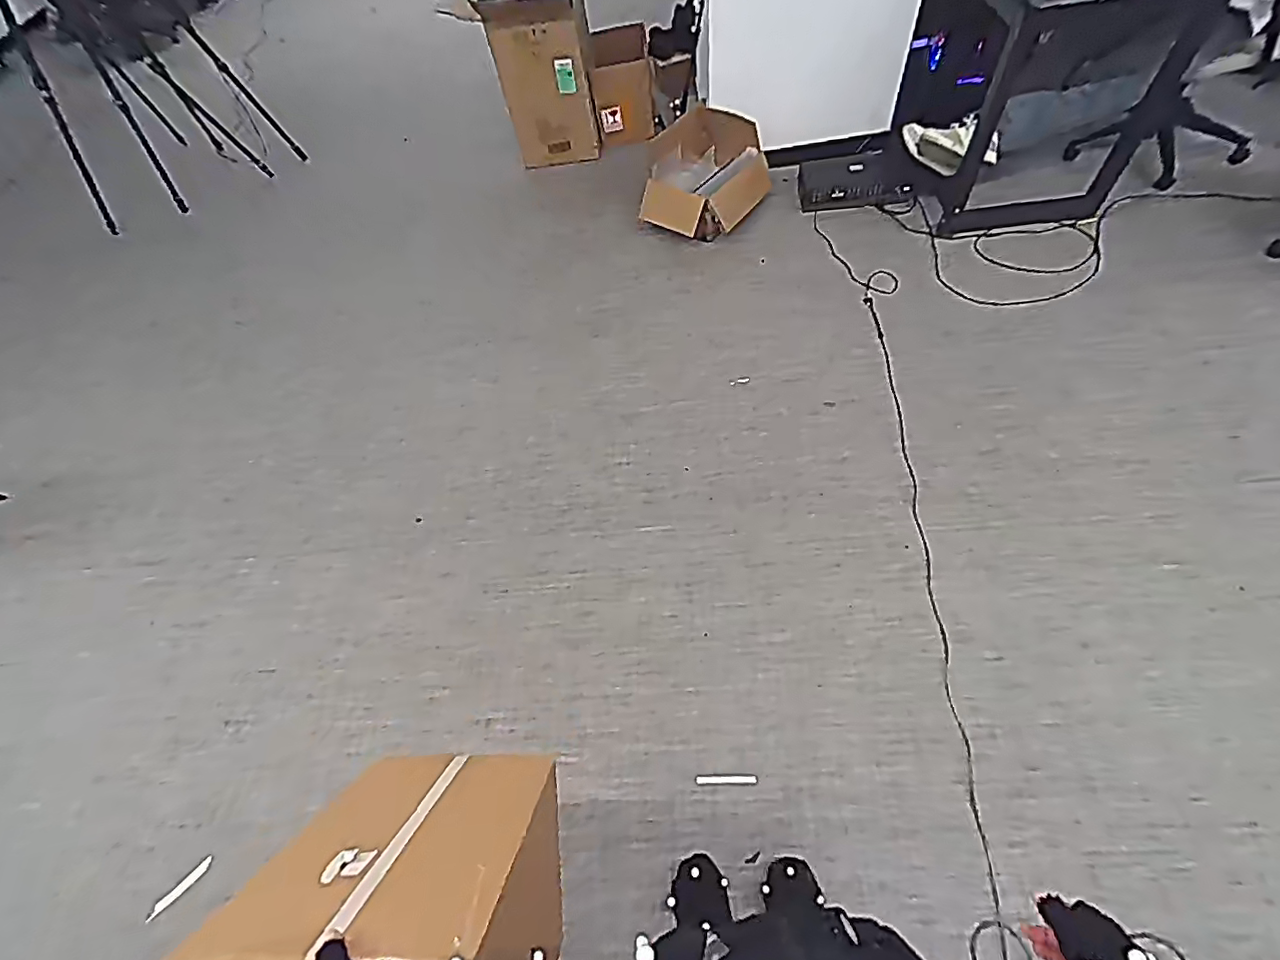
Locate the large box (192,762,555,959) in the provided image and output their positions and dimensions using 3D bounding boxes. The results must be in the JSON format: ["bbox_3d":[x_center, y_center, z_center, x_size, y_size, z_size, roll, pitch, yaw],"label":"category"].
[{"bbox_3d":[-0.306,0.644,0.735,0.320,0.408,0.320,-3,91,3],"label":"large box"}]
